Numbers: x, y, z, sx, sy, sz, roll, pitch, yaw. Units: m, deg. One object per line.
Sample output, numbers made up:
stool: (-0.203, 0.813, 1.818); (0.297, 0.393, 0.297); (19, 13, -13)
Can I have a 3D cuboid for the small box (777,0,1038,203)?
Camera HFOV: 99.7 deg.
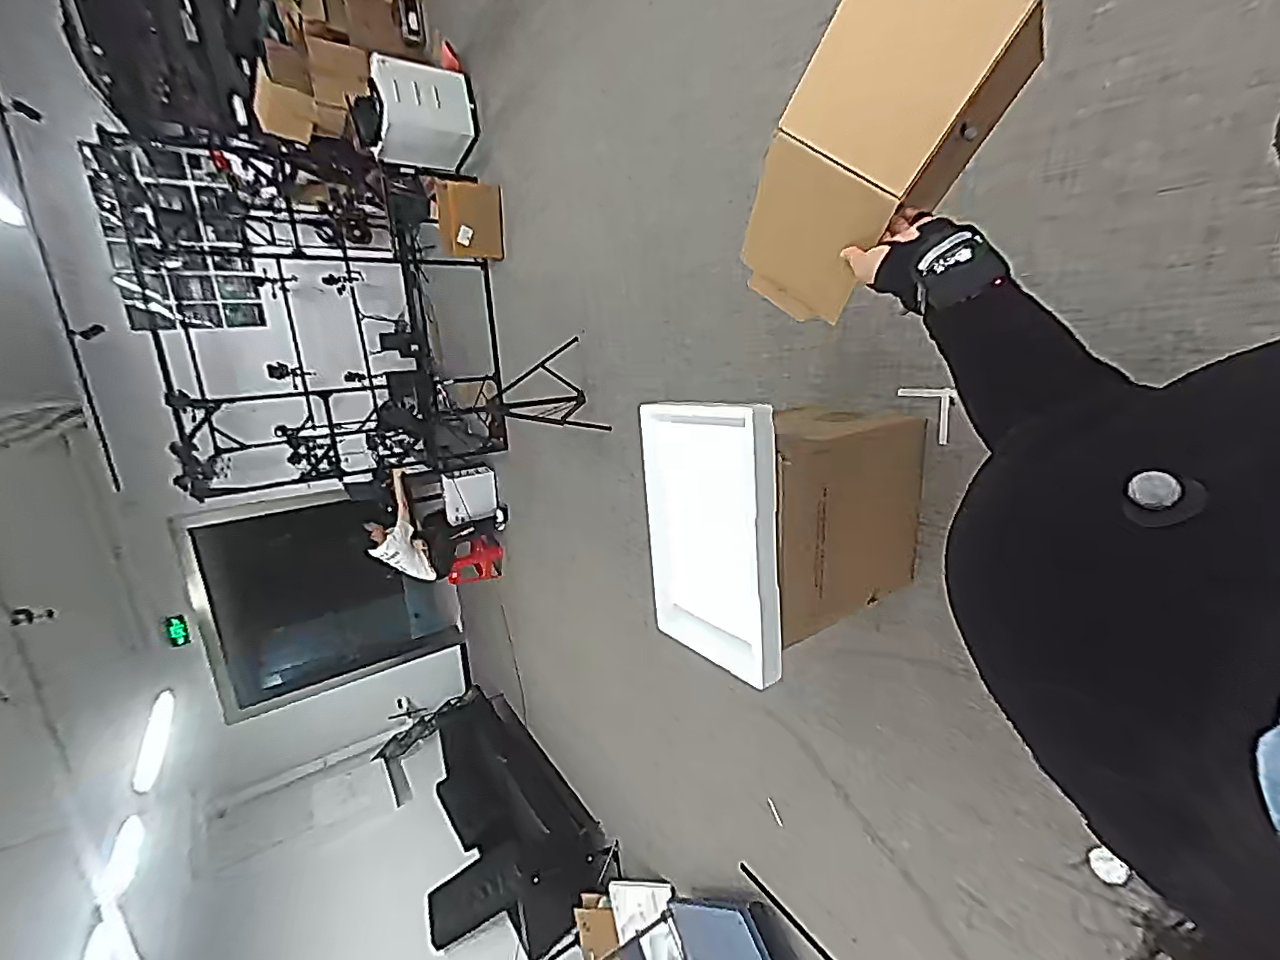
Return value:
small box: (0.285, -0.420, 0.573); (0.168, 0.176, 0.179); (43, 128, 17)
